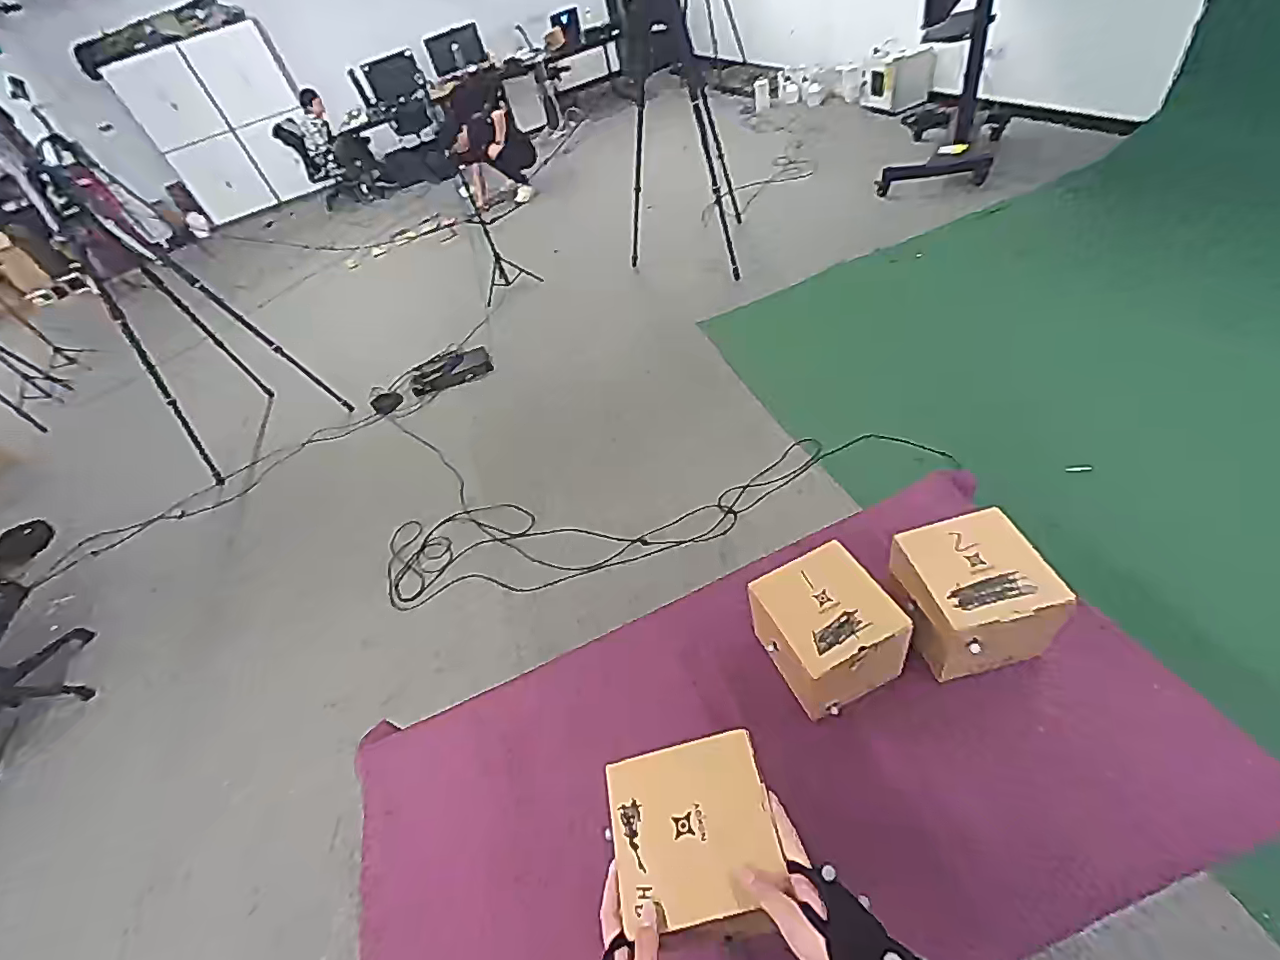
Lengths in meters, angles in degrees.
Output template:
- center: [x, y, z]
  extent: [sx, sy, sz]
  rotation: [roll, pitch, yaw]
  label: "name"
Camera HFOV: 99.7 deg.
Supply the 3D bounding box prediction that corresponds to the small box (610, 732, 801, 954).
- center: [0.076, 0.422, 0.628]
  extent: [0.179, 0.176, 0.168]
  rotation: [-15, 43, 3]
  label: "small box"
